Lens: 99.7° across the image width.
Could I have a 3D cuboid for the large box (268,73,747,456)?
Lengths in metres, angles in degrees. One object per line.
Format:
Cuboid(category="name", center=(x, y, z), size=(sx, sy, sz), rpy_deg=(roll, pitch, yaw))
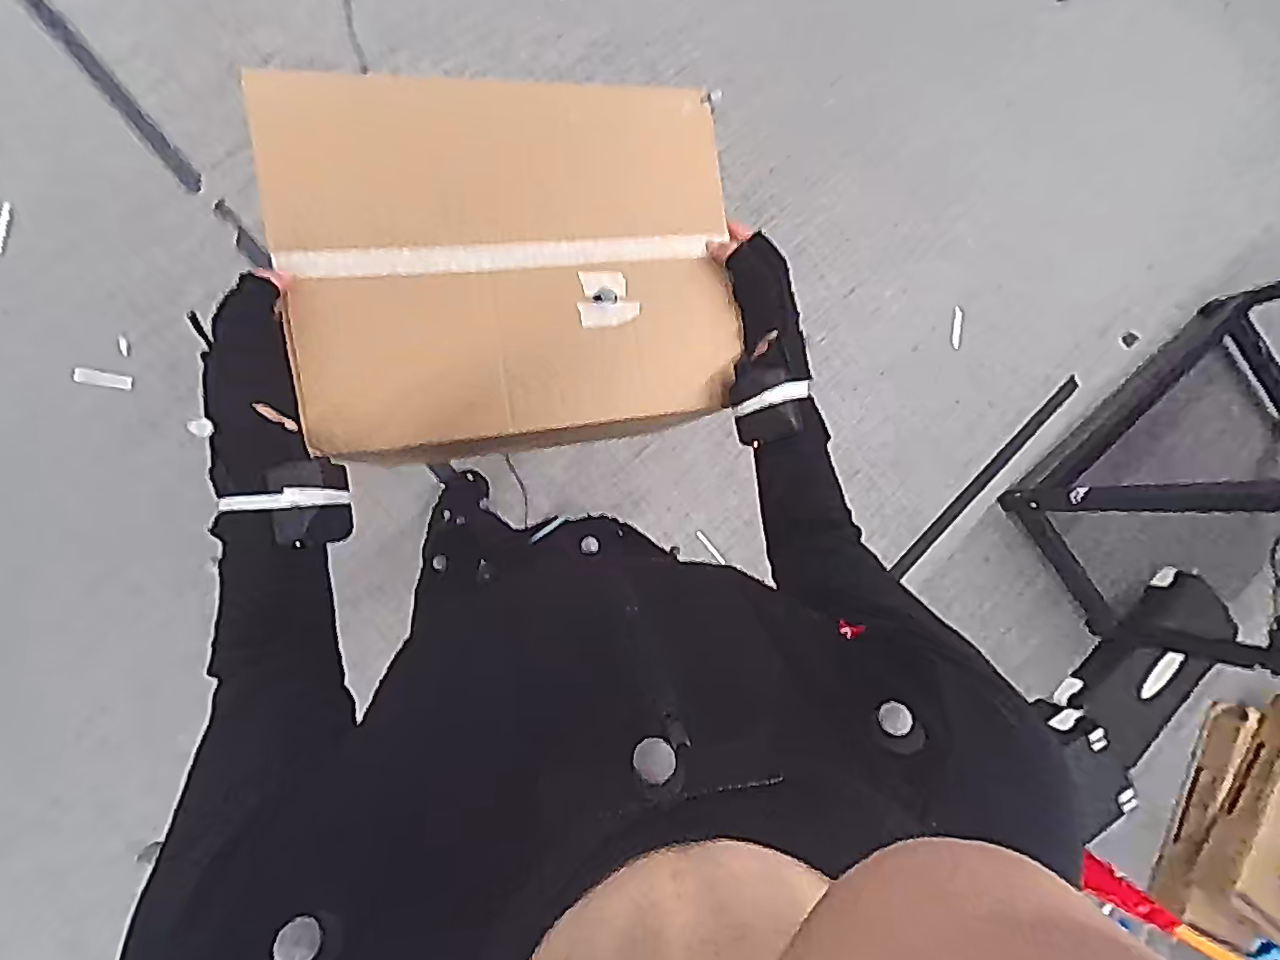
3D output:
Cuboid(category="large box", center=(-0.140, -0.213, 0.645), size=(0.408, 0.320, 0.320), rpy_deg=(-8, 93, -16))
